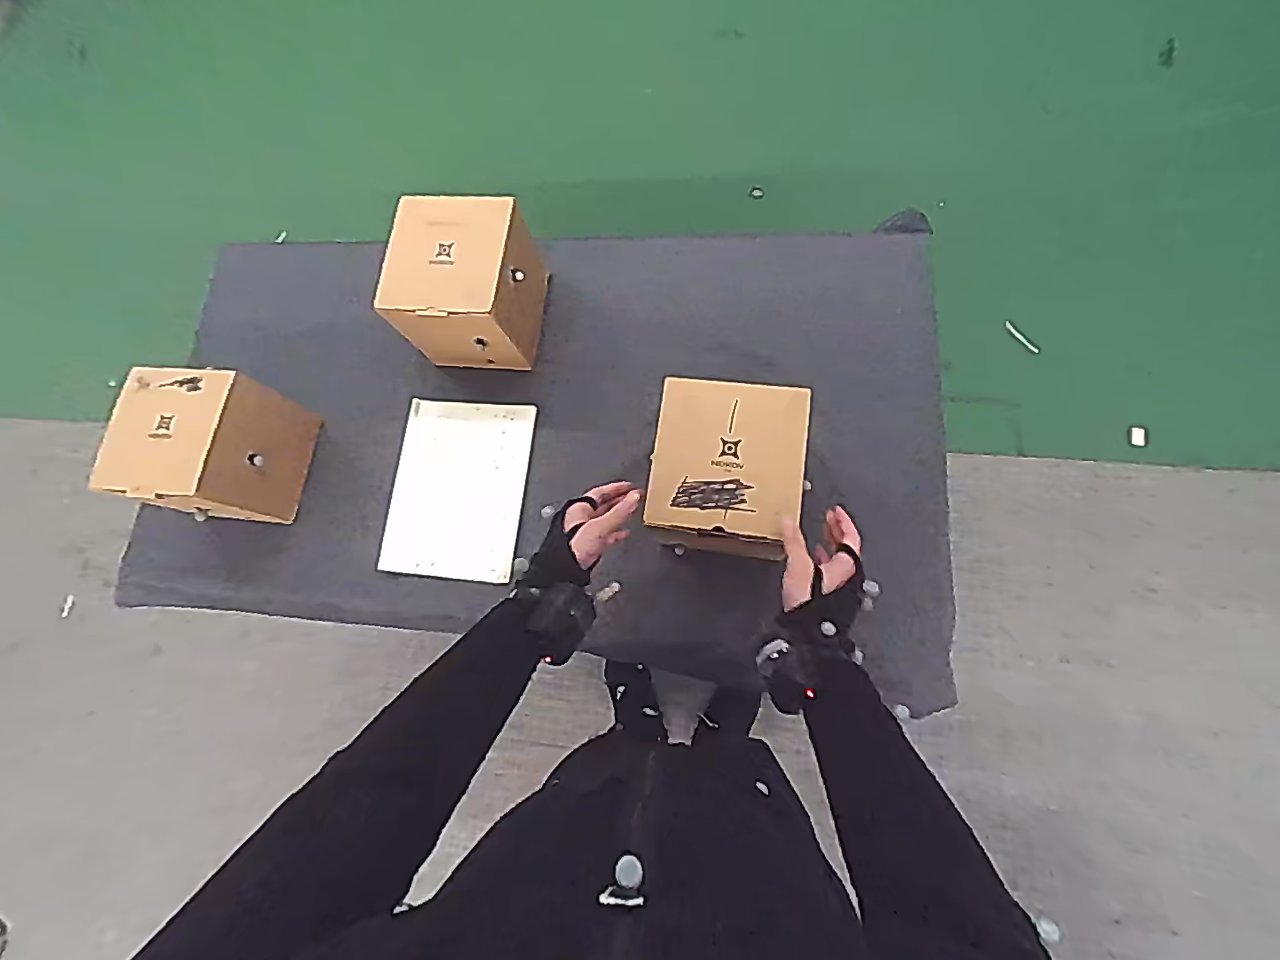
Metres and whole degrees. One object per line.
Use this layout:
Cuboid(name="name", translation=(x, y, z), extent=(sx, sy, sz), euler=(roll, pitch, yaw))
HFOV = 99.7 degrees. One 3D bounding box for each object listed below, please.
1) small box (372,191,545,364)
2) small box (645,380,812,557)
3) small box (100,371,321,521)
Cuboid(name="small box", translation=(-0.245, -0.280, 0.774), extent=(0.168, 0.176, 0.179), euler=(4, 77, 8))
Cuboid(name="small box", translation=(0.110, -0.005, 0.670), extent=(0.168, 0.176, 0.179), euler=(7, 77, 10))
Cuboid(name="small box", translation=(-0.602, -0.041, 0.784), extent=(0.168, 0.176, 0.179), euler=(4, 77, 9))
